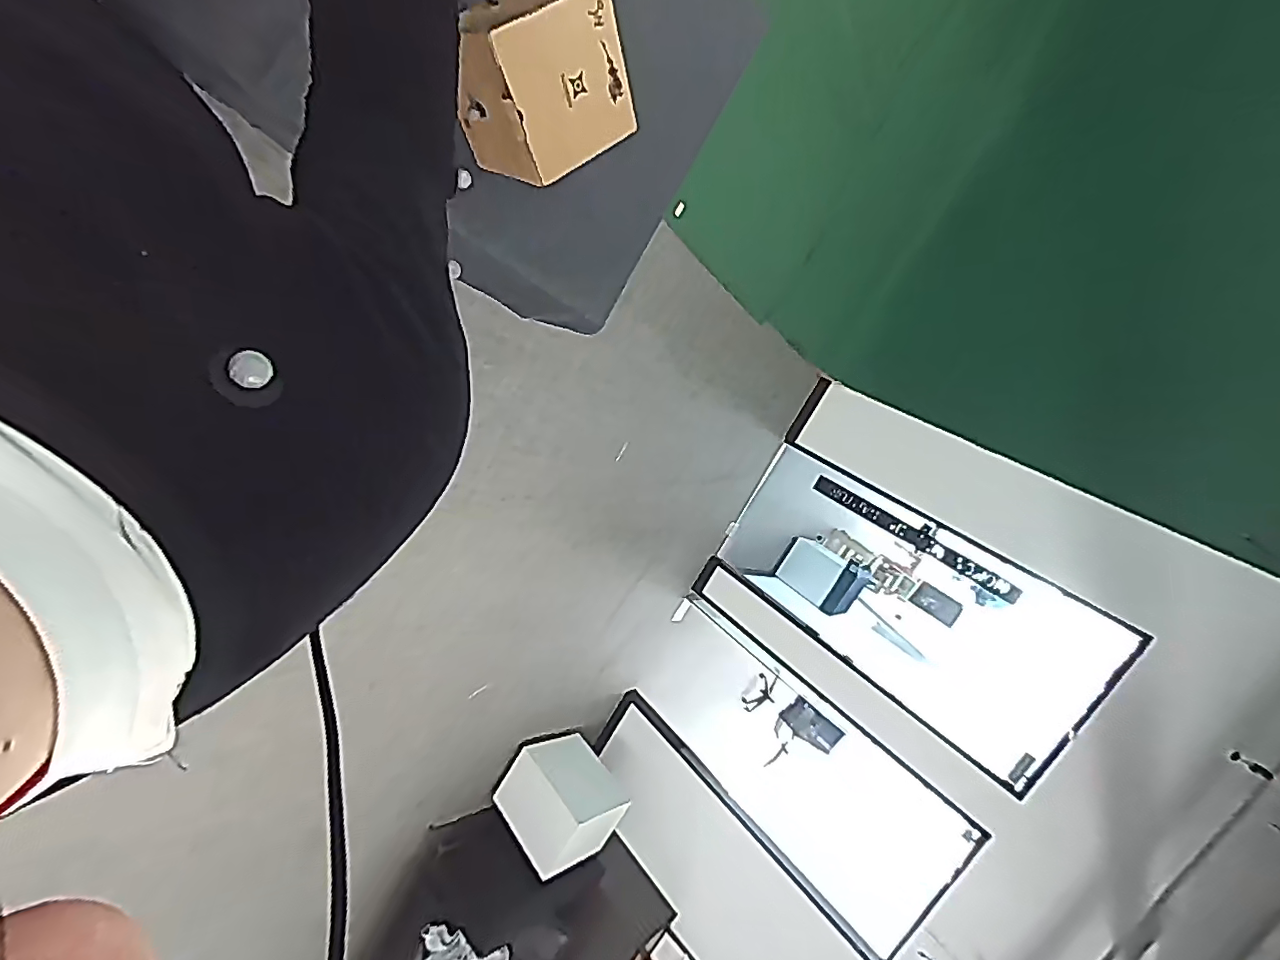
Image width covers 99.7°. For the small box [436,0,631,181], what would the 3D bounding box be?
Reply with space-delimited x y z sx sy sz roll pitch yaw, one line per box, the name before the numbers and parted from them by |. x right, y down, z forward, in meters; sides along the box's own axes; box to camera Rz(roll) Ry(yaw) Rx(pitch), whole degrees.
small box | -0.144 -0.529 0.718 0.179 0.176 0.168 -40 143 -17
